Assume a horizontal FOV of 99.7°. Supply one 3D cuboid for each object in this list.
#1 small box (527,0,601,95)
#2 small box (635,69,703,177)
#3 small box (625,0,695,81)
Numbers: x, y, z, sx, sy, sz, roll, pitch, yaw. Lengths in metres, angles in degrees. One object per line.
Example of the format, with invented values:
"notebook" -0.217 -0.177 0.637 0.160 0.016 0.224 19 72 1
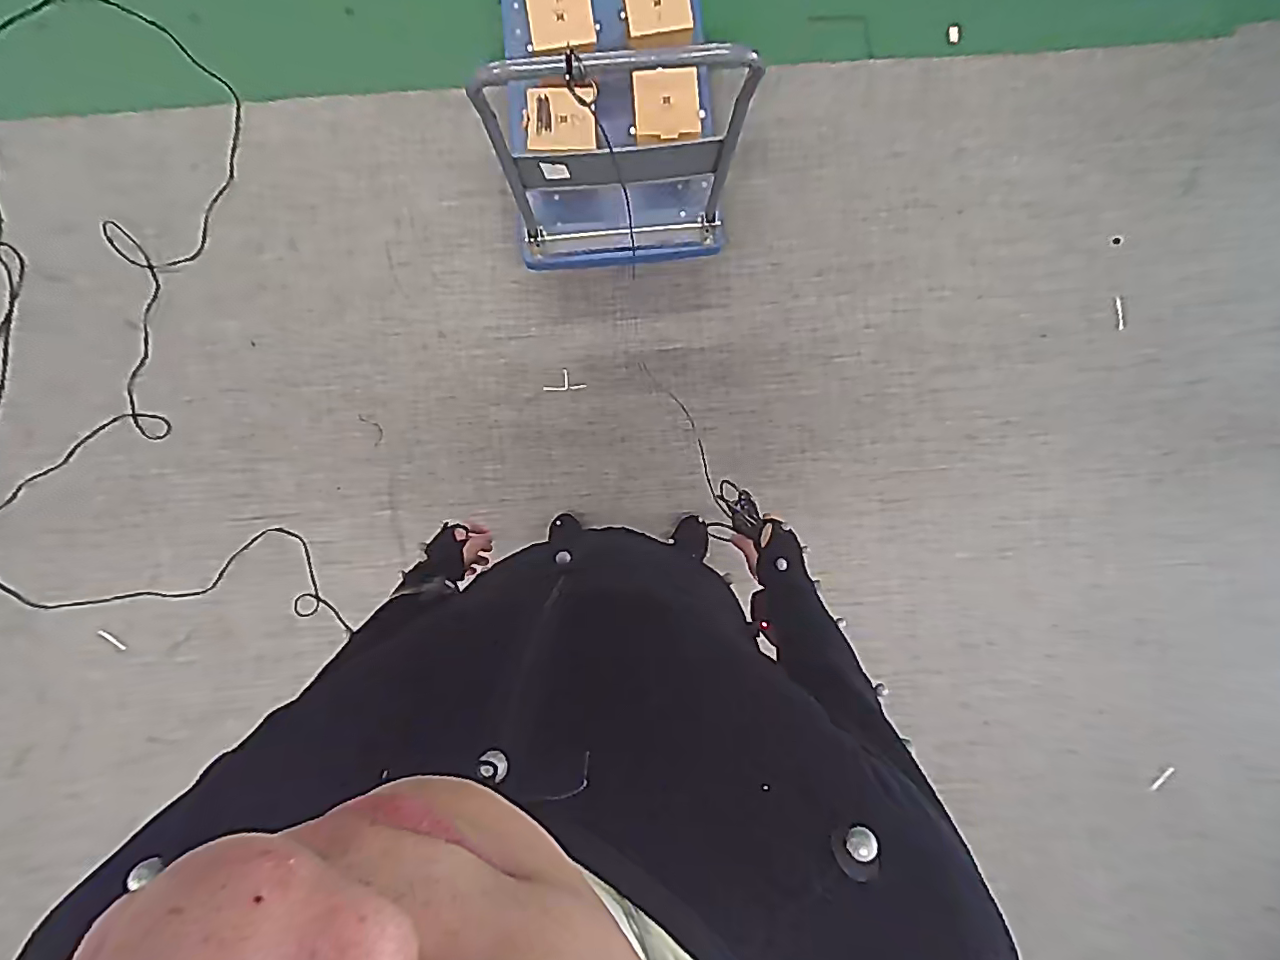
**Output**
"small box" -0.199 -1.174 1.453 0.168 0.176 0.179 -9 87 -1
"small box" 0.073 -0.945 1.440 0.168 0.176 0.179 -4 88 0
"small box" 0.049 -1.214 1.453 0.168 0.176 0.179 -9 88 1
